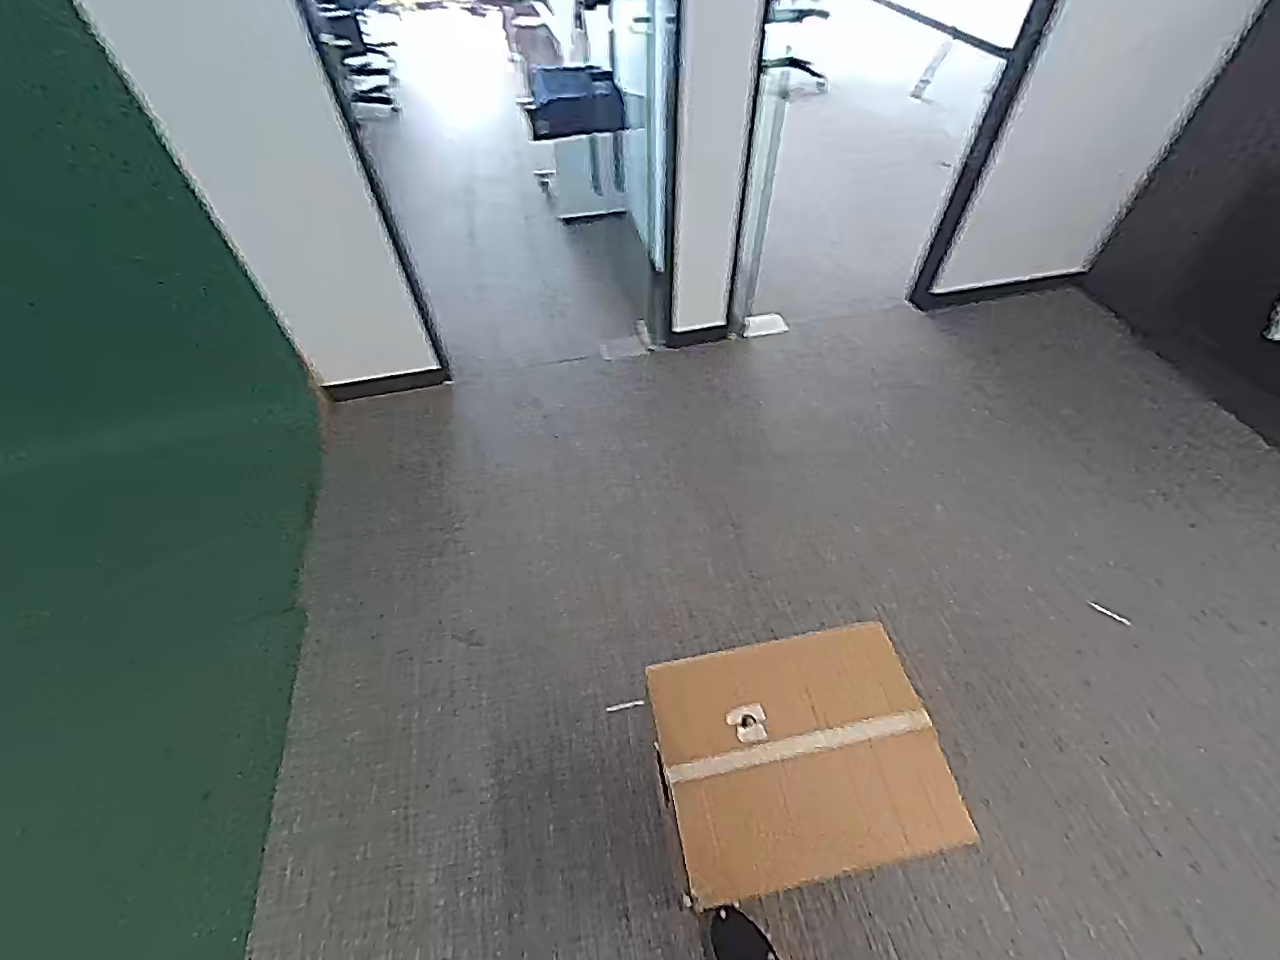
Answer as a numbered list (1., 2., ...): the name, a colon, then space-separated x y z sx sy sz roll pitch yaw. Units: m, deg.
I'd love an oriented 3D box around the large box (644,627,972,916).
1. large box: 0.232 0.480 0.913 0.408 0.320 0.320 -9 56 -5
